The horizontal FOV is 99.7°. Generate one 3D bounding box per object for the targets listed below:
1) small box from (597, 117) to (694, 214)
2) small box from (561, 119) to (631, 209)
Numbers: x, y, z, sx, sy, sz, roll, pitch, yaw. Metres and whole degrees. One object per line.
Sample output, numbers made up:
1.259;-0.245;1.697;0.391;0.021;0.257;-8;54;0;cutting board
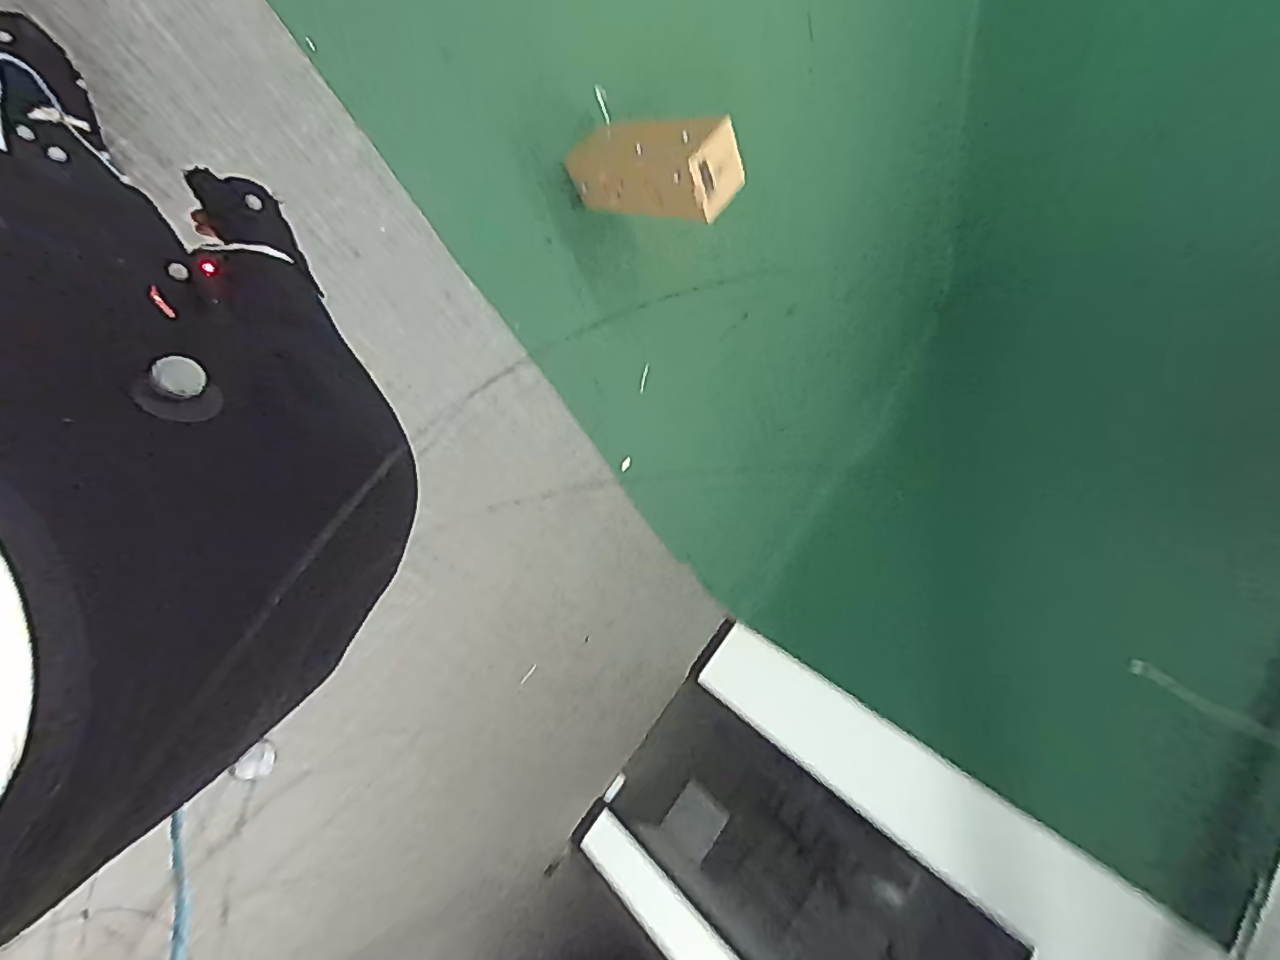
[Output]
0.014;-0.876;1.500;0.179;0.176;0.168;-52;142;-10;small box
-0.098;-0.938;1.600;0.179;0.176;0.168;-51;141;-12;small box
